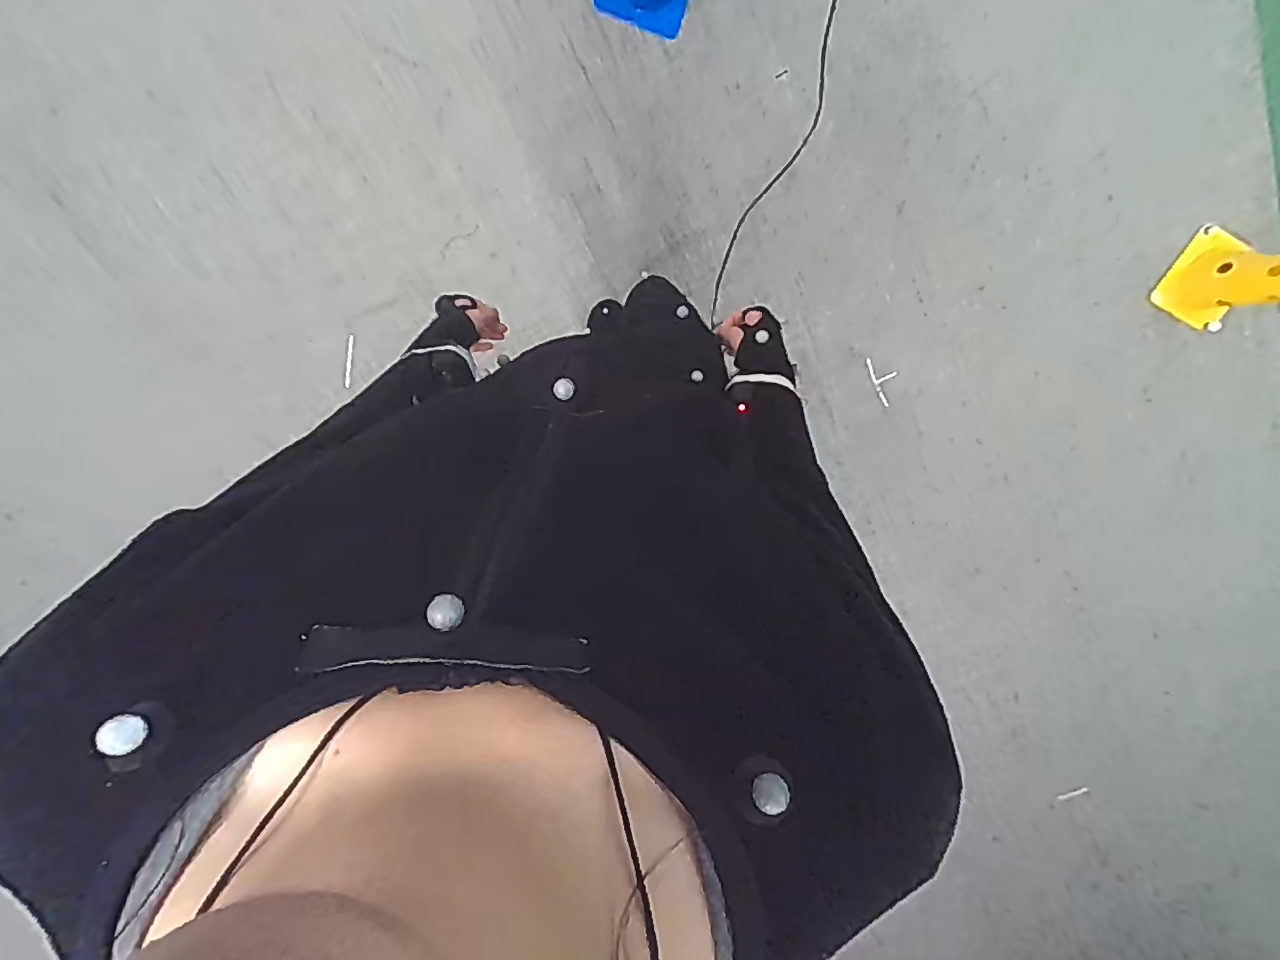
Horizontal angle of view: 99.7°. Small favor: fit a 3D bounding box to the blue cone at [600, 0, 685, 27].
[{"bbox_3d":[0.008,-1.004,0.962,0.193,0.380,0.192,17,111,-4],"label":"blue cone"}]
